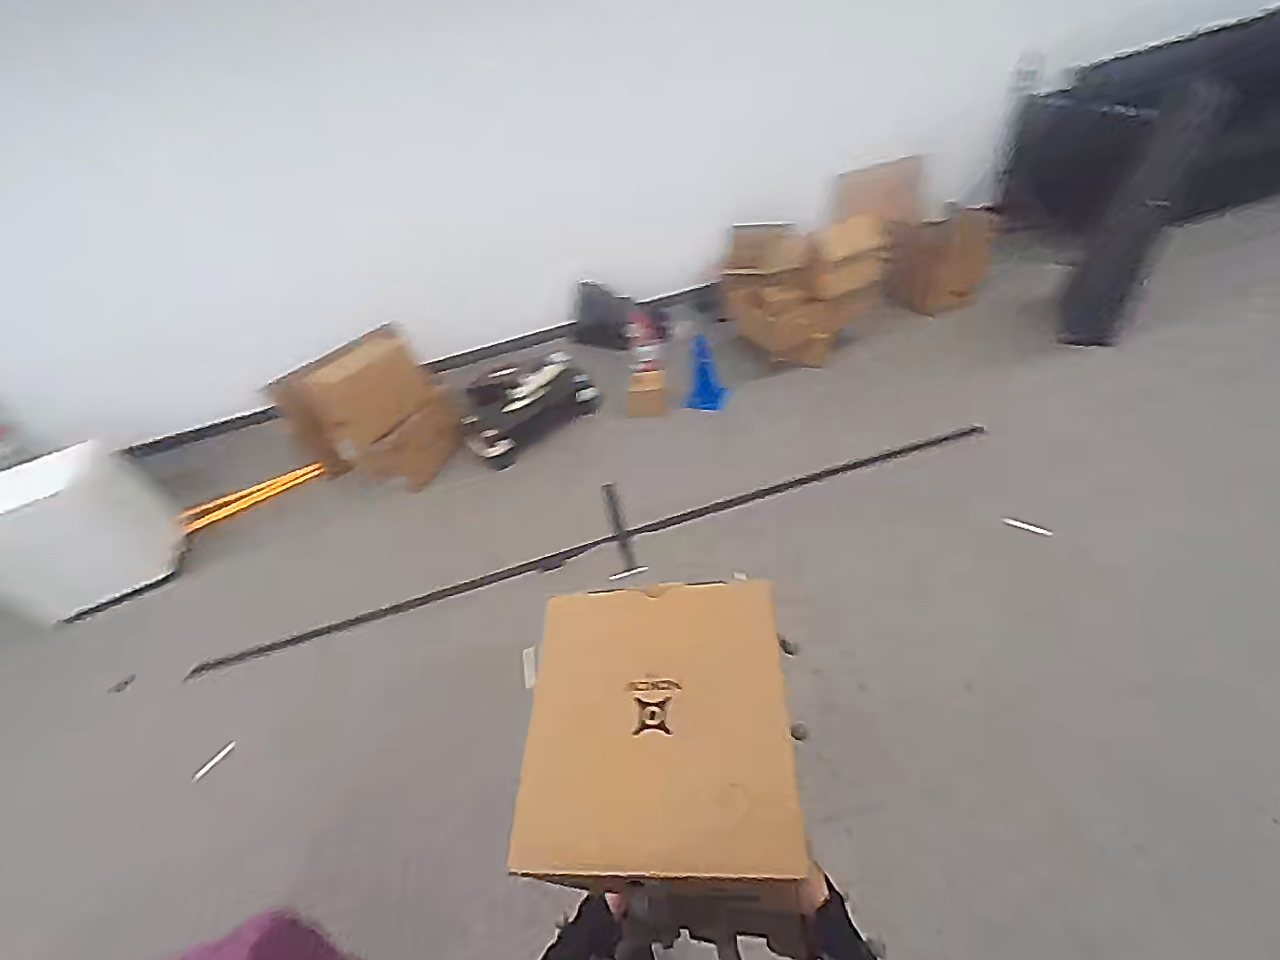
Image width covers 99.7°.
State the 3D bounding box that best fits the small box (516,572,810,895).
[{"bbox_3d":[0.030,0.190,0.399,0.168,0.176,0.179,-6,48,11],"label":"small box"}]
